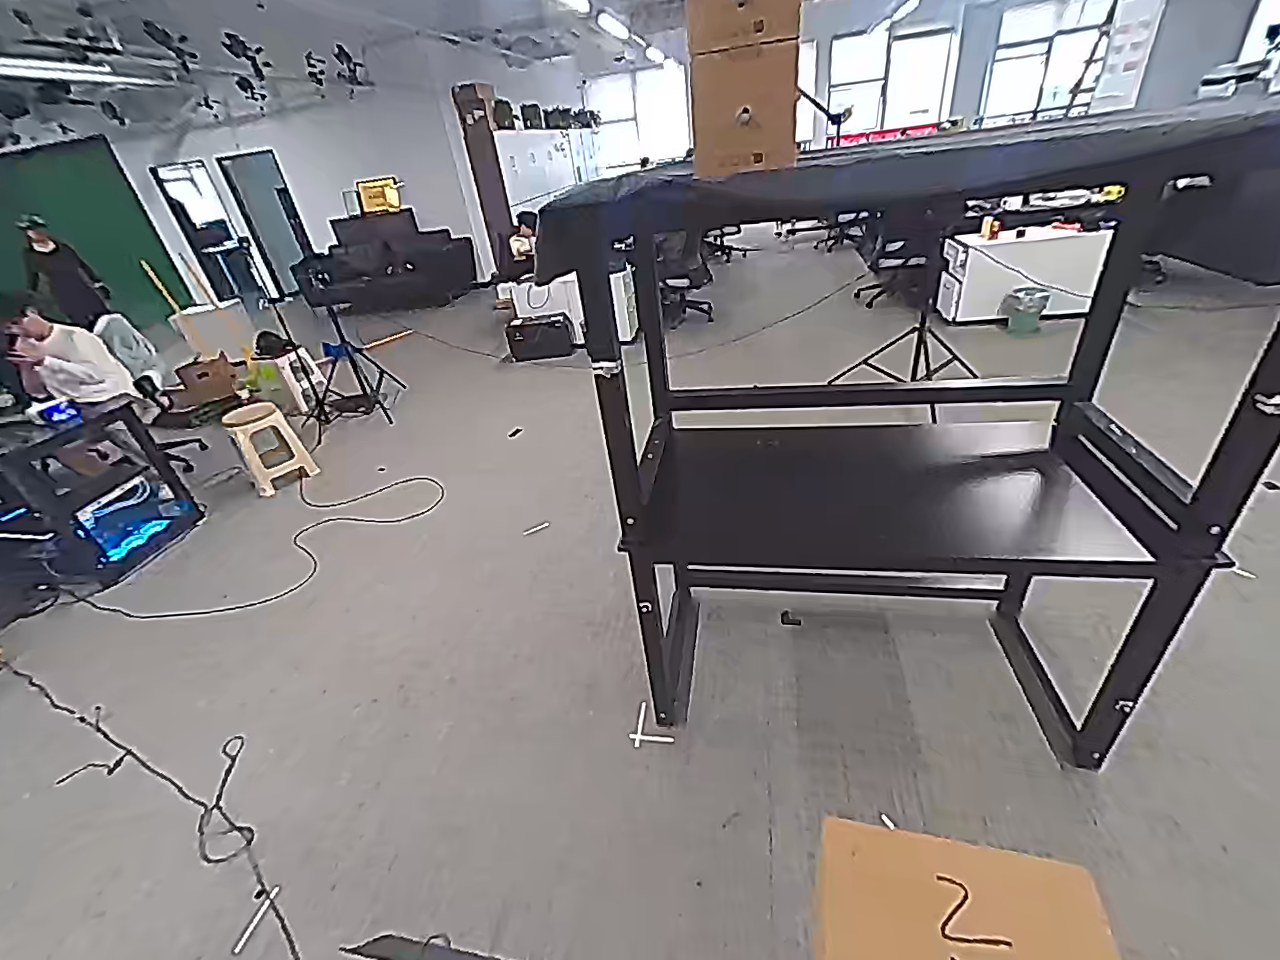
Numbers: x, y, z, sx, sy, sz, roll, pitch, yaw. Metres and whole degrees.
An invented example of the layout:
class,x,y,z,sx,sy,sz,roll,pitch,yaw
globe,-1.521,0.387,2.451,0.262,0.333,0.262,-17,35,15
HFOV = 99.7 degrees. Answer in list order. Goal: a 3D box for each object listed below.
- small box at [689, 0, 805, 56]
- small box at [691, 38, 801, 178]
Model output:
class,x,y,z,sx,sy,sz,roll,pitch,yaw
small box,0.160,-0.756,0.829,0.168,0.176,0.179,-3,31,10
small box,0.177,-0.614,0.911,0.168,0.176,0.179,-2,31,9
